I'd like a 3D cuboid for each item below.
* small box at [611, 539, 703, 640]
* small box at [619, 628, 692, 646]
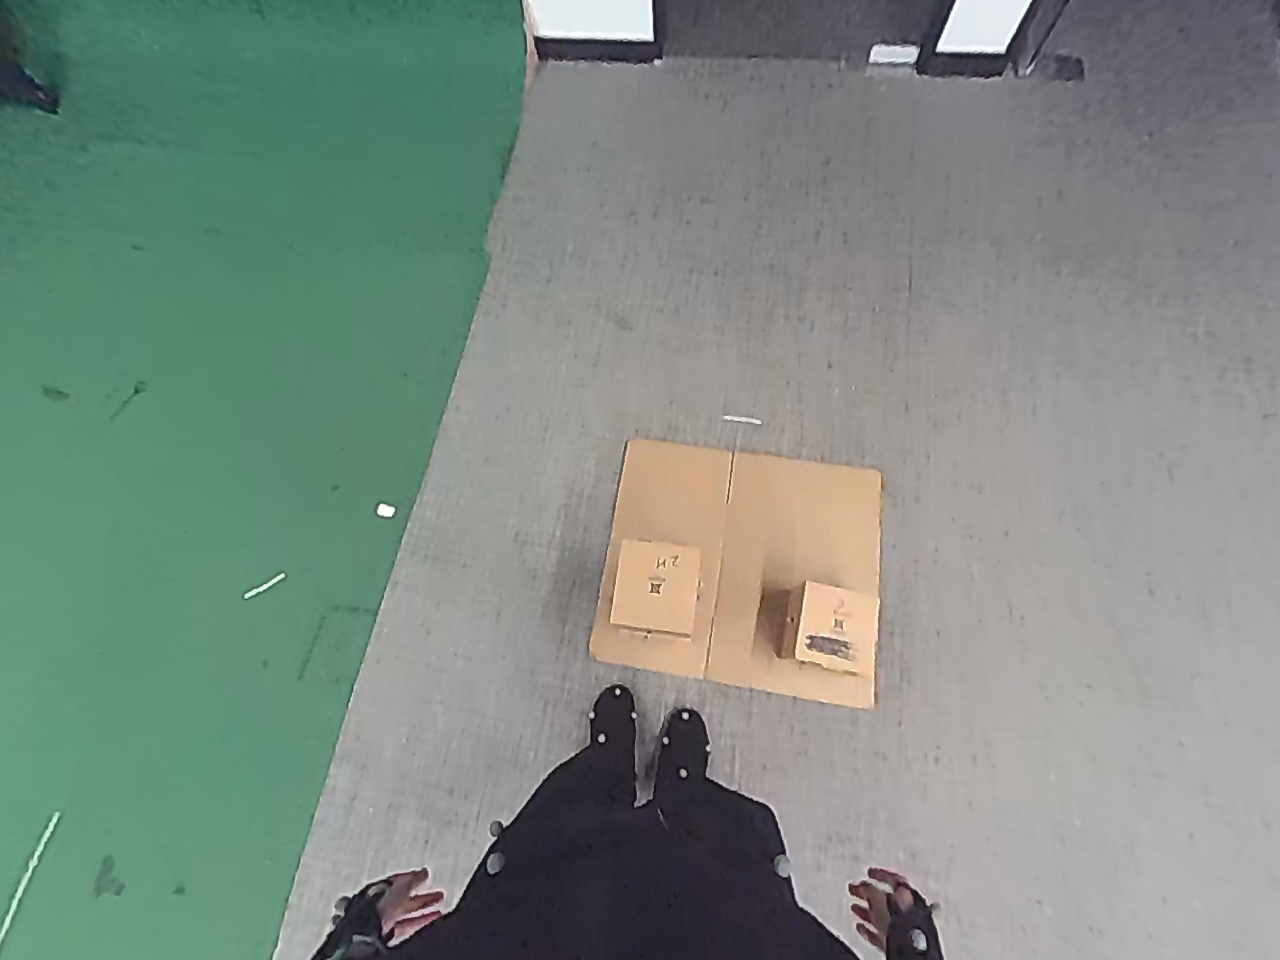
[{"bbox_3d":[0.040,0.238,1.144,0.168,0.176,0.179,7,71,5],"label":"small box"},{"bbox_3d":[0.051,0.299,1.297,0.168,0.176,0.179,6,71,6],"label":"small box"}]
